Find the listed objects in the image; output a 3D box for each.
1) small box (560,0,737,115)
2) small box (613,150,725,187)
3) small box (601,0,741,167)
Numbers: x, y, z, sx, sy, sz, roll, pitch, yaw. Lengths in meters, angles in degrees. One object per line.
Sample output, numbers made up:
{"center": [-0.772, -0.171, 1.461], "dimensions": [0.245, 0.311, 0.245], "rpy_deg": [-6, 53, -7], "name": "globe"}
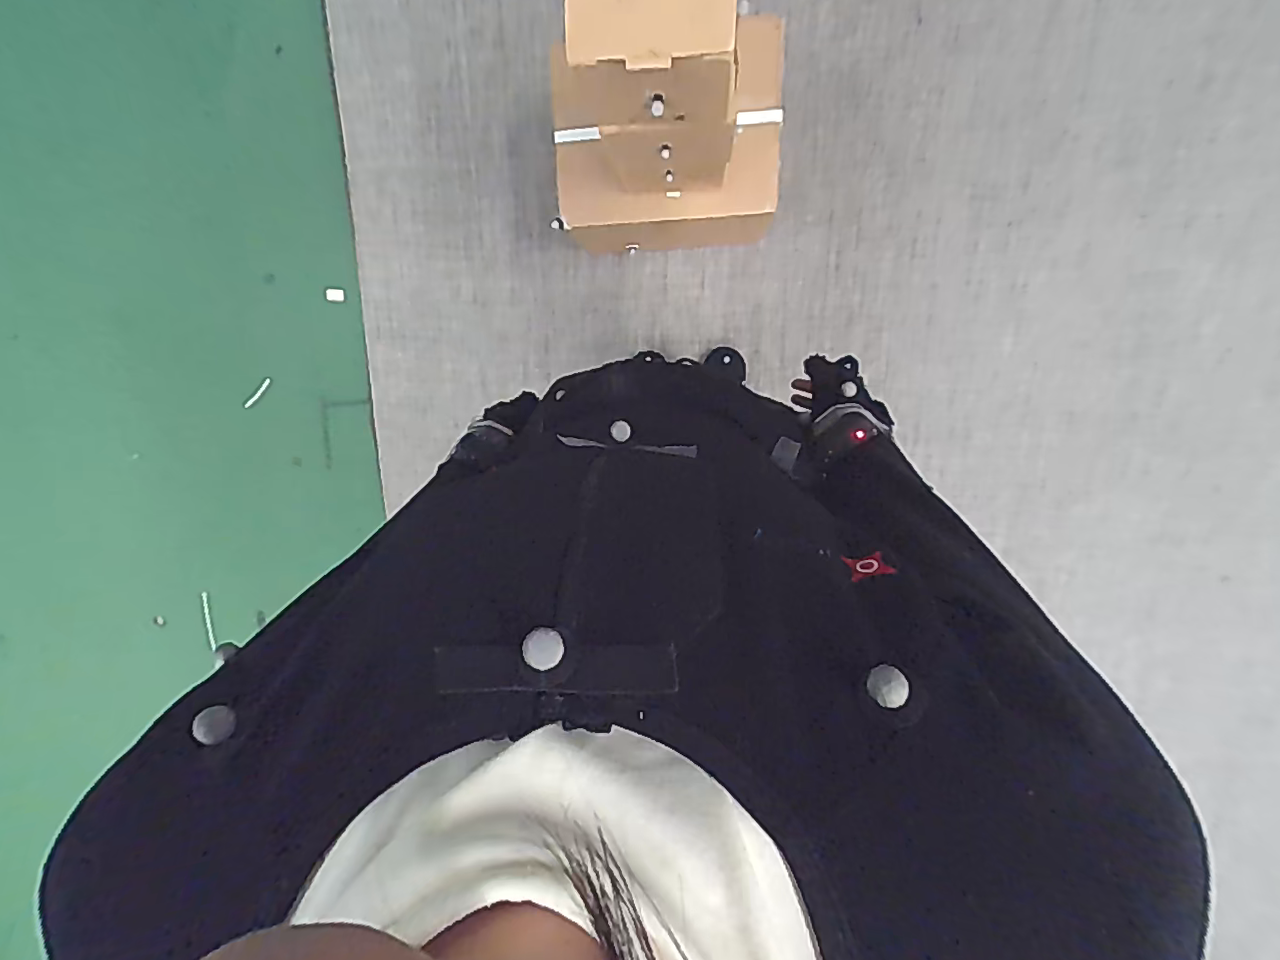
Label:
{"center": [0.018, -0.510, 0.573], "dimensions": [0.168, 0.176, 0.179], "rpy_deg": [4, 107, 7], "name": "small box"}
{"center": [0.054, -0.592, 0.888], "dimensions": [0.179, 0.176, 0.168], "rpy_deg": [1, 106, 6], "name": "small box"}
{"center": [0.040, -0.544, 0.732], "dimensions": [0.179, 0.176, 0.168], "rpy_deg": [-3, 105, 8], "name": "small box"}
